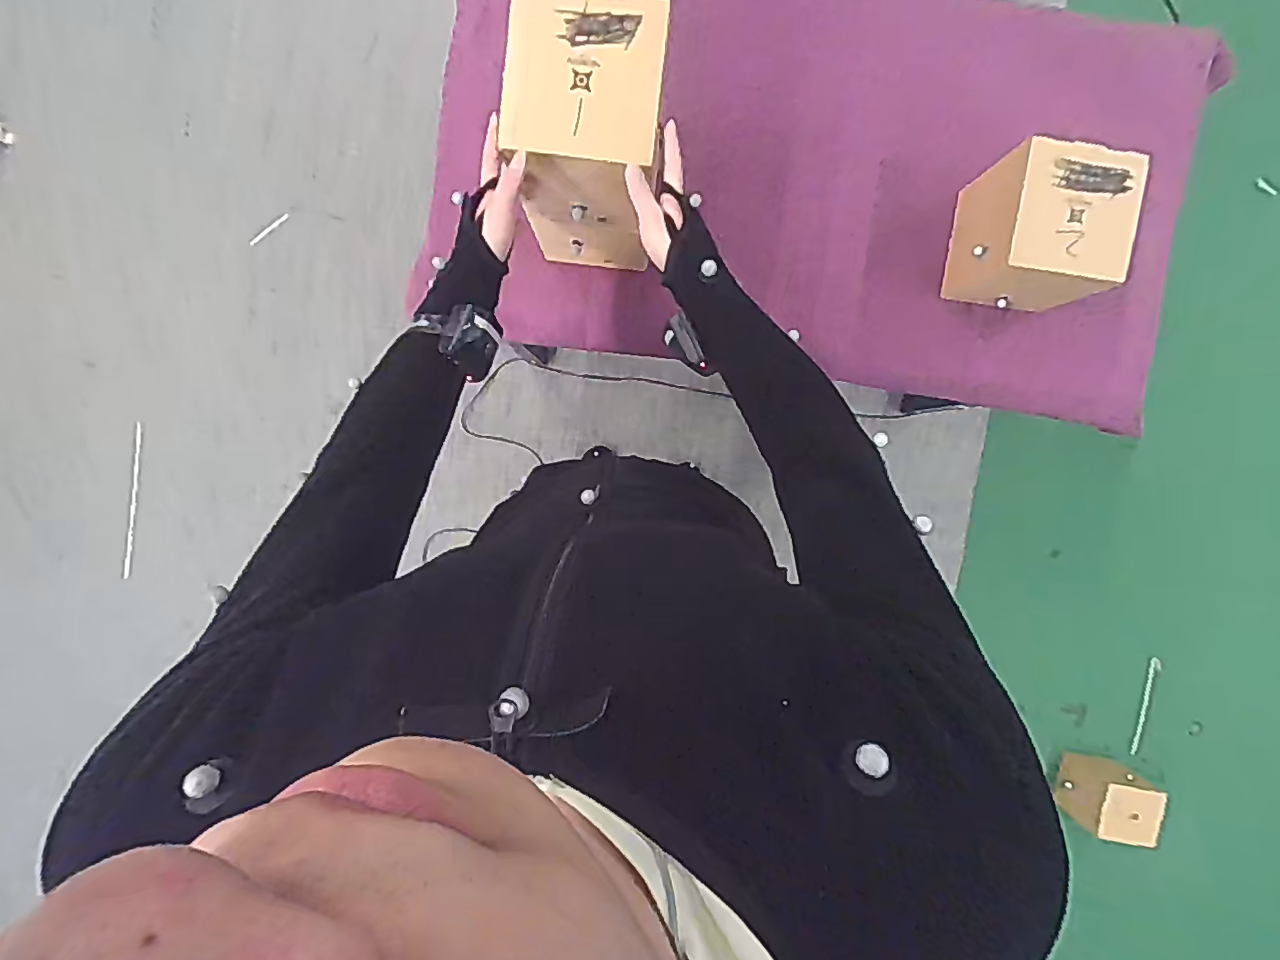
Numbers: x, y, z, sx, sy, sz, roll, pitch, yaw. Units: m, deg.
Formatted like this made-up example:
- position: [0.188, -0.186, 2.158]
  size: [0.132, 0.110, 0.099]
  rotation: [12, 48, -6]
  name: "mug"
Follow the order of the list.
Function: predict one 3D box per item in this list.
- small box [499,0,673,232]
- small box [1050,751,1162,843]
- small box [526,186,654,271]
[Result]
- position: [-0.059, -0.423, 0.637]
  size: [0.168, 0.176, 0.179]
  rotation: [6, 92, -1]
  name: "small box"
- position: [1.394, 0.946, 1.627]
  size: [0.179, 0.176, 0.168]
  rotation: [10, 92, -2]
  name: "small box"
- position: [-0.065, -0.427, 0.801]
  size: [0.168, 0.176, 0.179]
  rotation: [6, 92, -2]
  name: "small box"
